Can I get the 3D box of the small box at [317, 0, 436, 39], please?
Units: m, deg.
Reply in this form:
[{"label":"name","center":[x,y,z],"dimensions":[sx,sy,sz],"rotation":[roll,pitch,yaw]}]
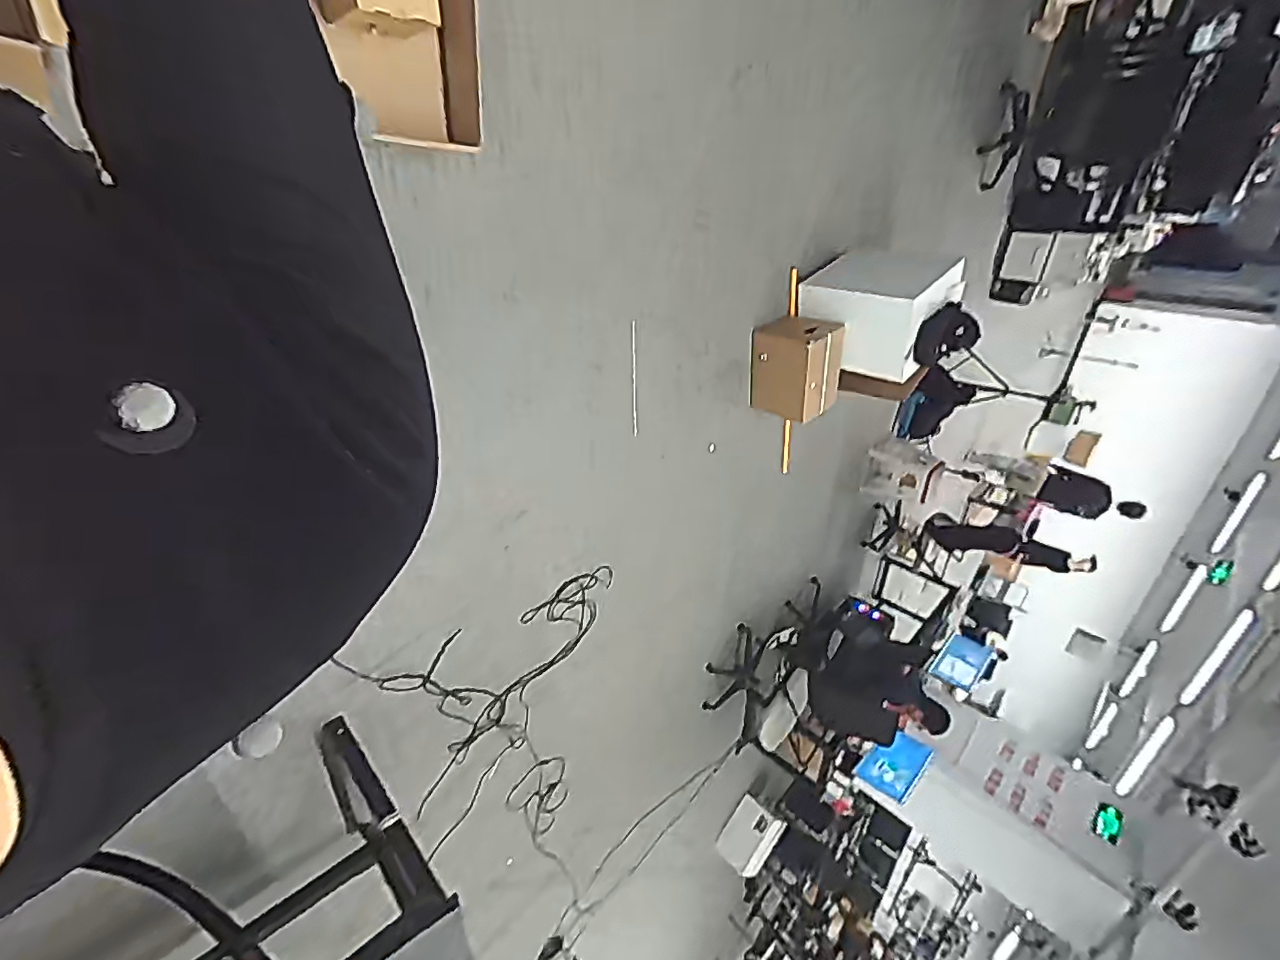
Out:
[{"label":"small box","center":[-0.523,-0.986,1.041],"dimensions":[0.168,0.176,0.179],"rotation":[-26,128,-38]}]
